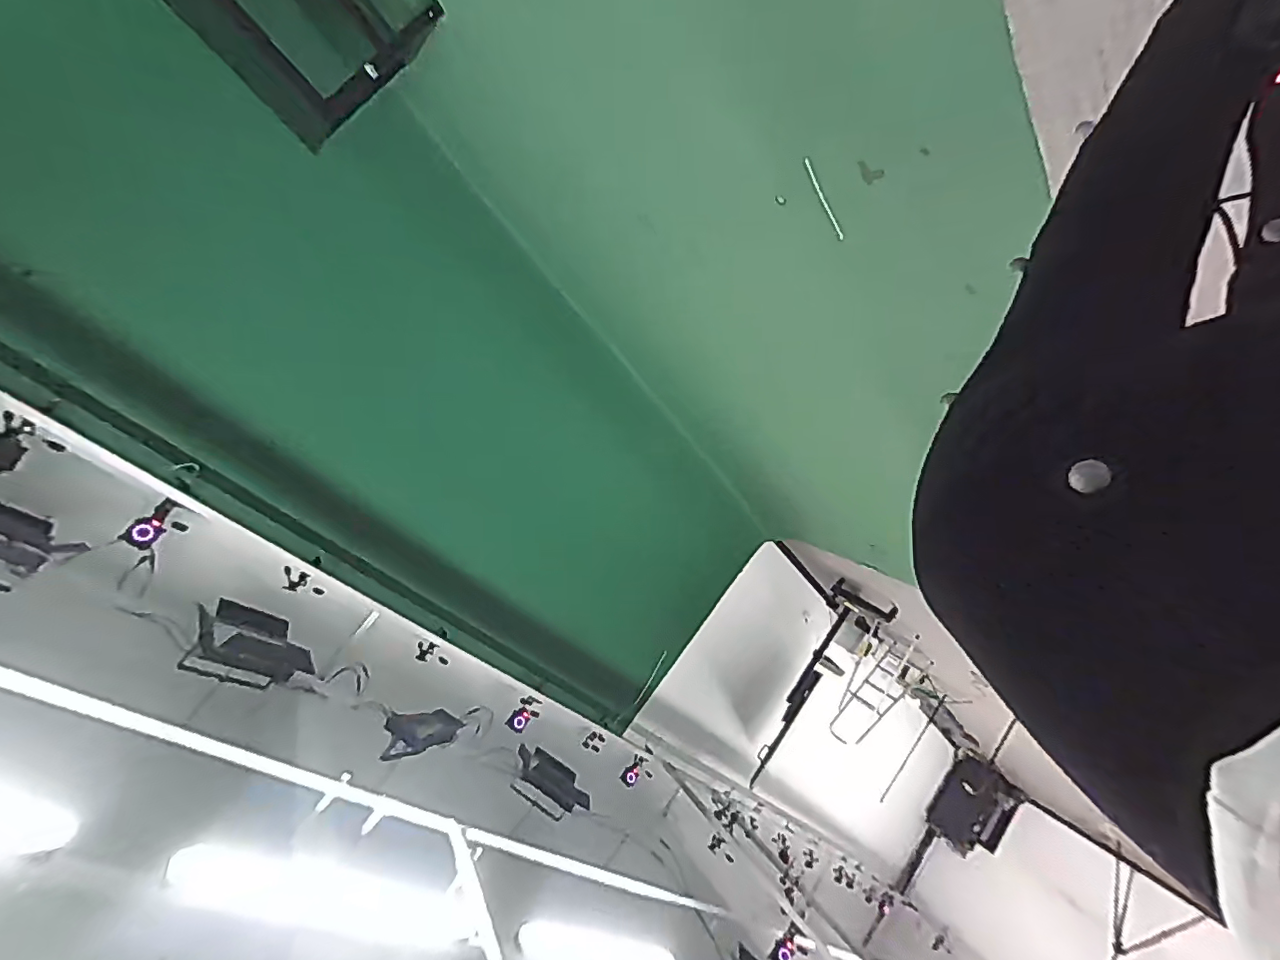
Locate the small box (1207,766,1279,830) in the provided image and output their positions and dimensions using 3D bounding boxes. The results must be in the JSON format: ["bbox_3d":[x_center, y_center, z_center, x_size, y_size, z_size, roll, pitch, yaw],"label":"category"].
[{"bbox_3d":[1.689,0.813,1.465,0.179,0.176,0.168,46,168,-34],"label":"small box"}]
